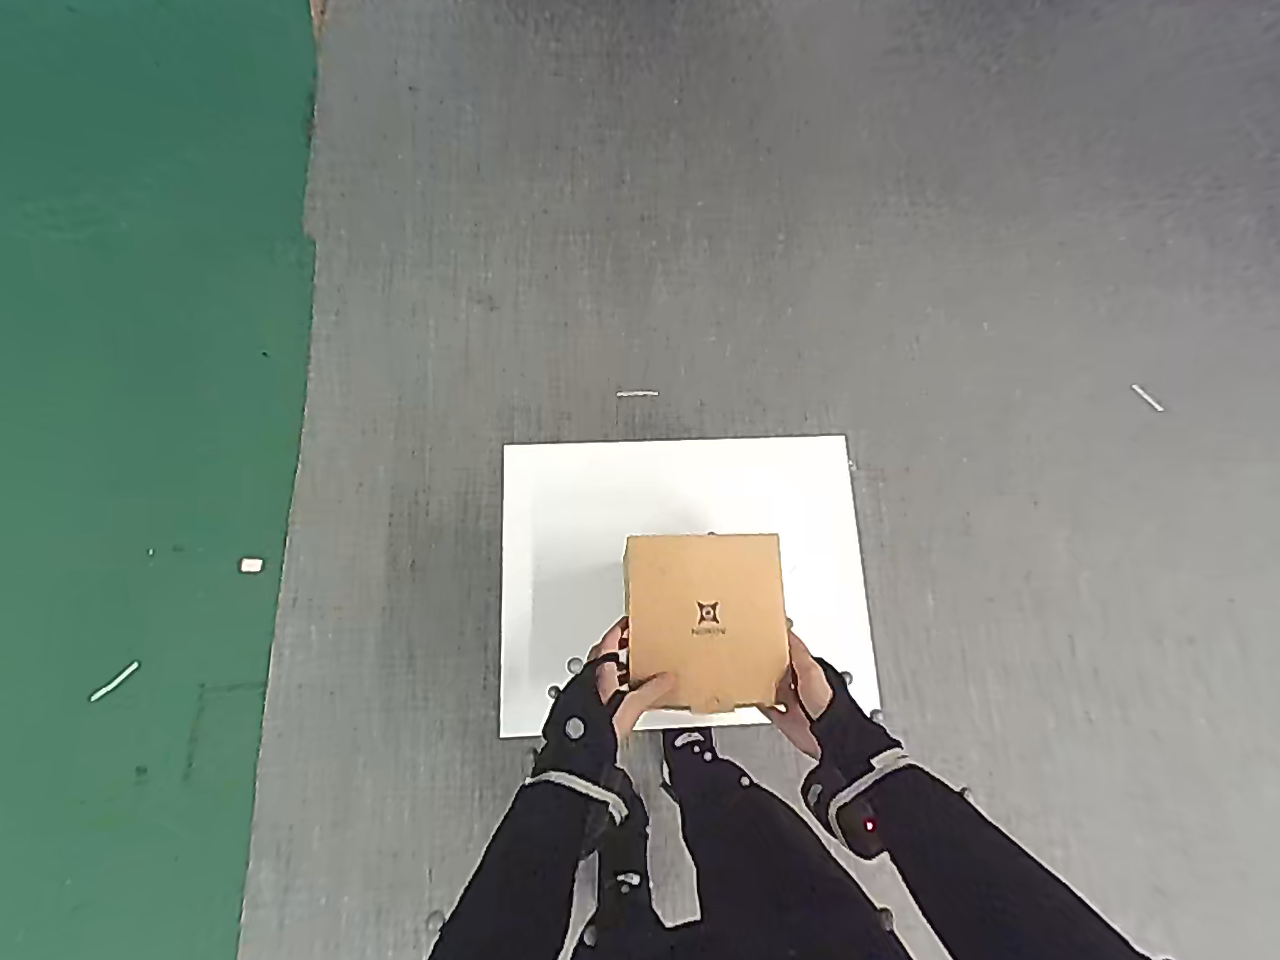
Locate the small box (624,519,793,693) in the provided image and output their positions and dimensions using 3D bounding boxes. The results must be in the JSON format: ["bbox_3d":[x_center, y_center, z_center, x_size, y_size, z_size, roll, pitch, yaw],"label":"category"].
[{"bbox_3d":[0.066,0.150,0.633,0.168,0.176,0.179,-1,73,-2],"label":"small box"}]
